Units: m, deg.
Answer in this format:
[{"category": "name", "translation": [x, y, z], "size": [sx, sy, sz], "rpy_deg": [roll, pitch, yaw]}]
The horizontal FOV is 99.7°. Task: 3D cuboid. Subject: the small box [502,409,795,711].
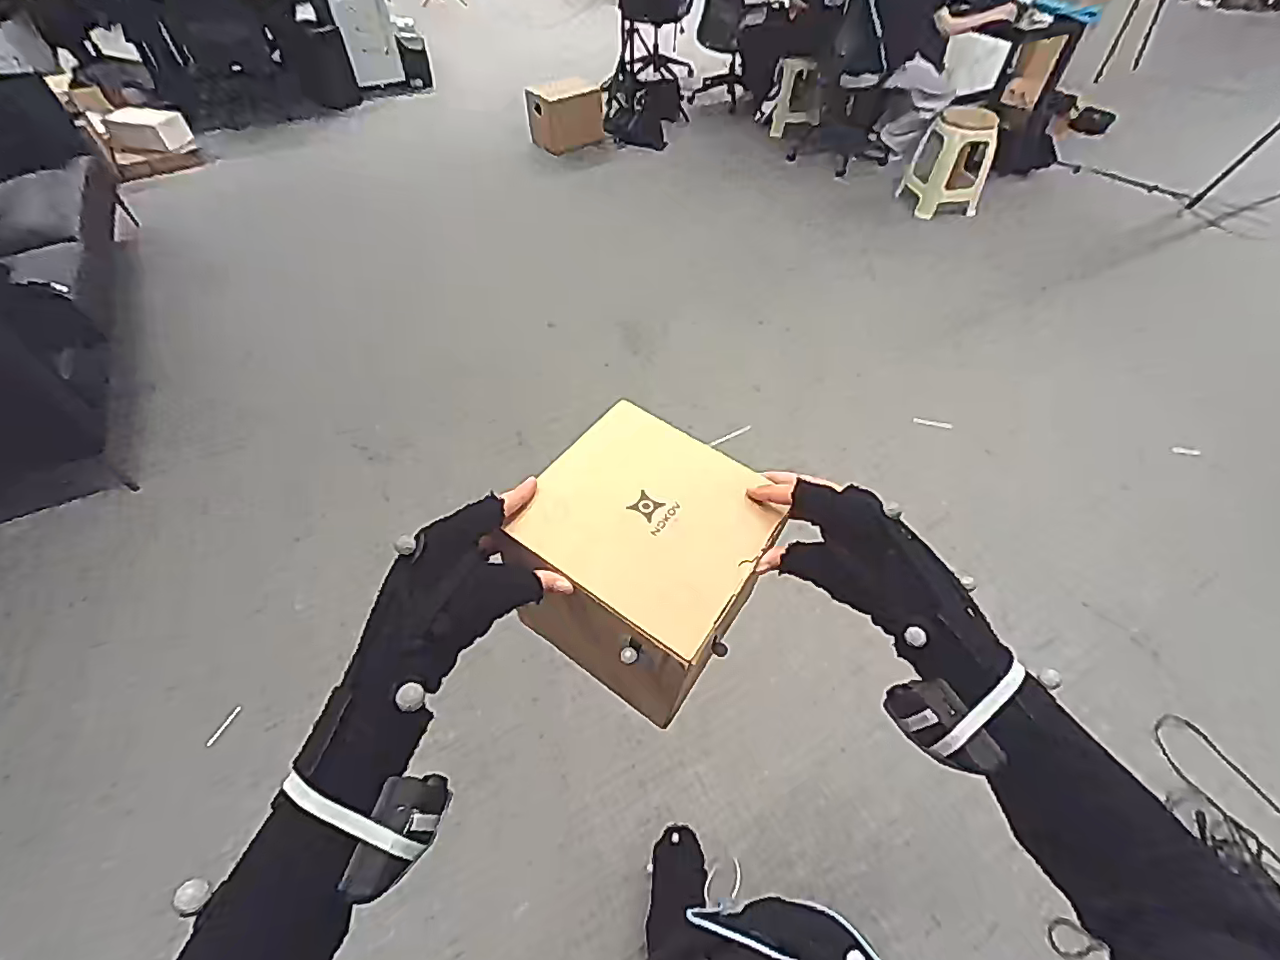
[{"category": "small box", "translation": [0.004, 0.075, 0.484], "size": [0.179, 0.176, 0.168], "rpy_deg": [31, 56, 17]}]
